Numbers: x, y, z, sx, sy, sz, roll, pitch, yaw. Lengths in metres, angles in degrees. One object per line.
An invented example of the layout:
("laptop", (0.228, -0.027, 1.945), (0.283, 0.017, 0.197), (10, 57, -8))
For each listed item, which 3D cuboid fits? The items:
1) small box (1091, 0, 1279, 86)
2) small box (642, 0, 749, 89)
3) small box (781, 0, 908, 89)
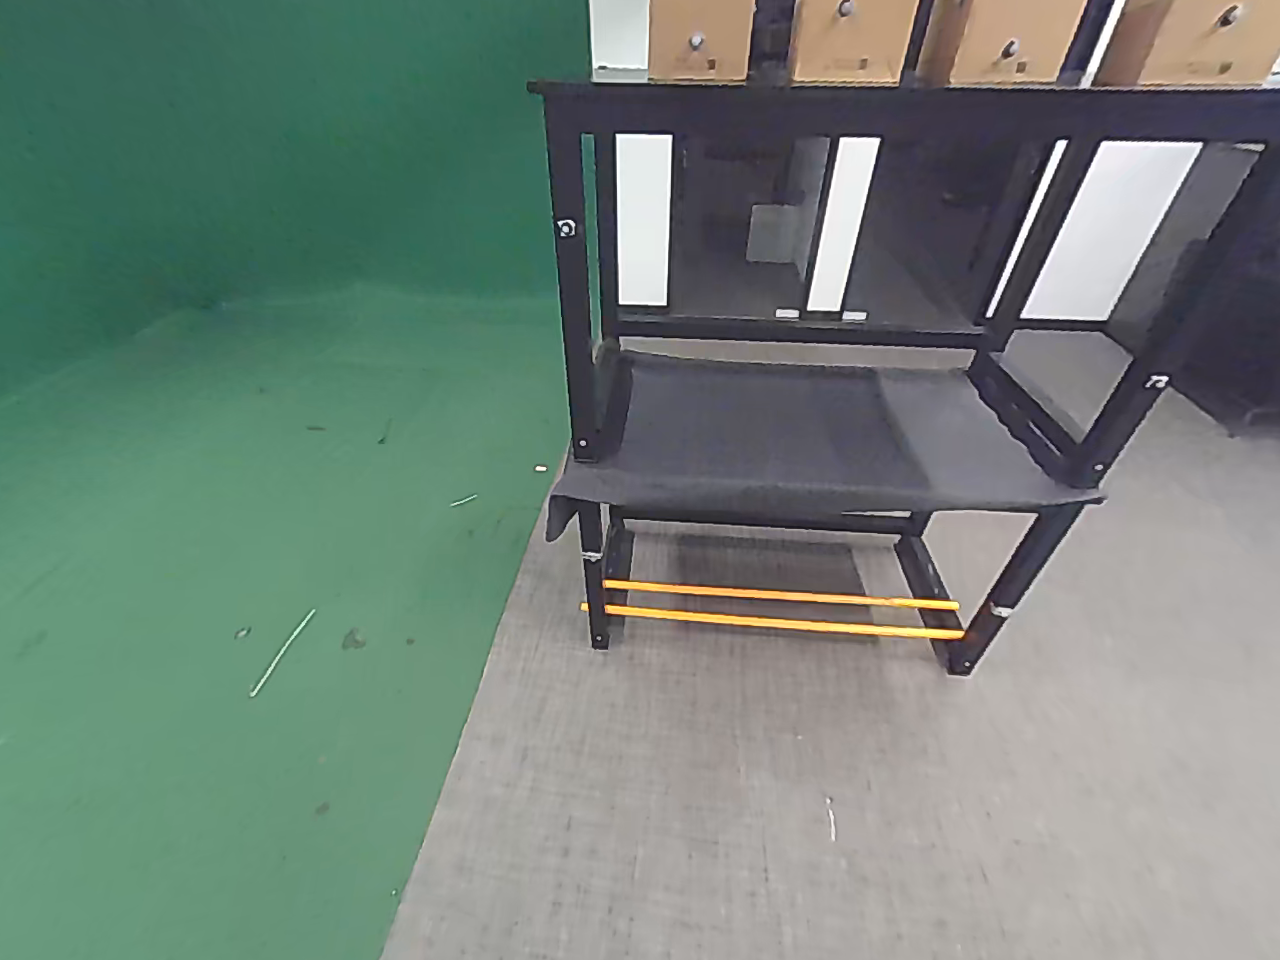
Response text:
("small box", (0.841, -0.704, 0.819), (0.168, 0.176, 0.179), (9, 39, 12))
("small box", (0.089, -0.774, 0.918), (0.168, 0.176, 0.179), (0, 39, 1))
("small box", (0.331, -0.747, 0.885), (0.168, 0.176, 0.179), (4, 38, 6))
